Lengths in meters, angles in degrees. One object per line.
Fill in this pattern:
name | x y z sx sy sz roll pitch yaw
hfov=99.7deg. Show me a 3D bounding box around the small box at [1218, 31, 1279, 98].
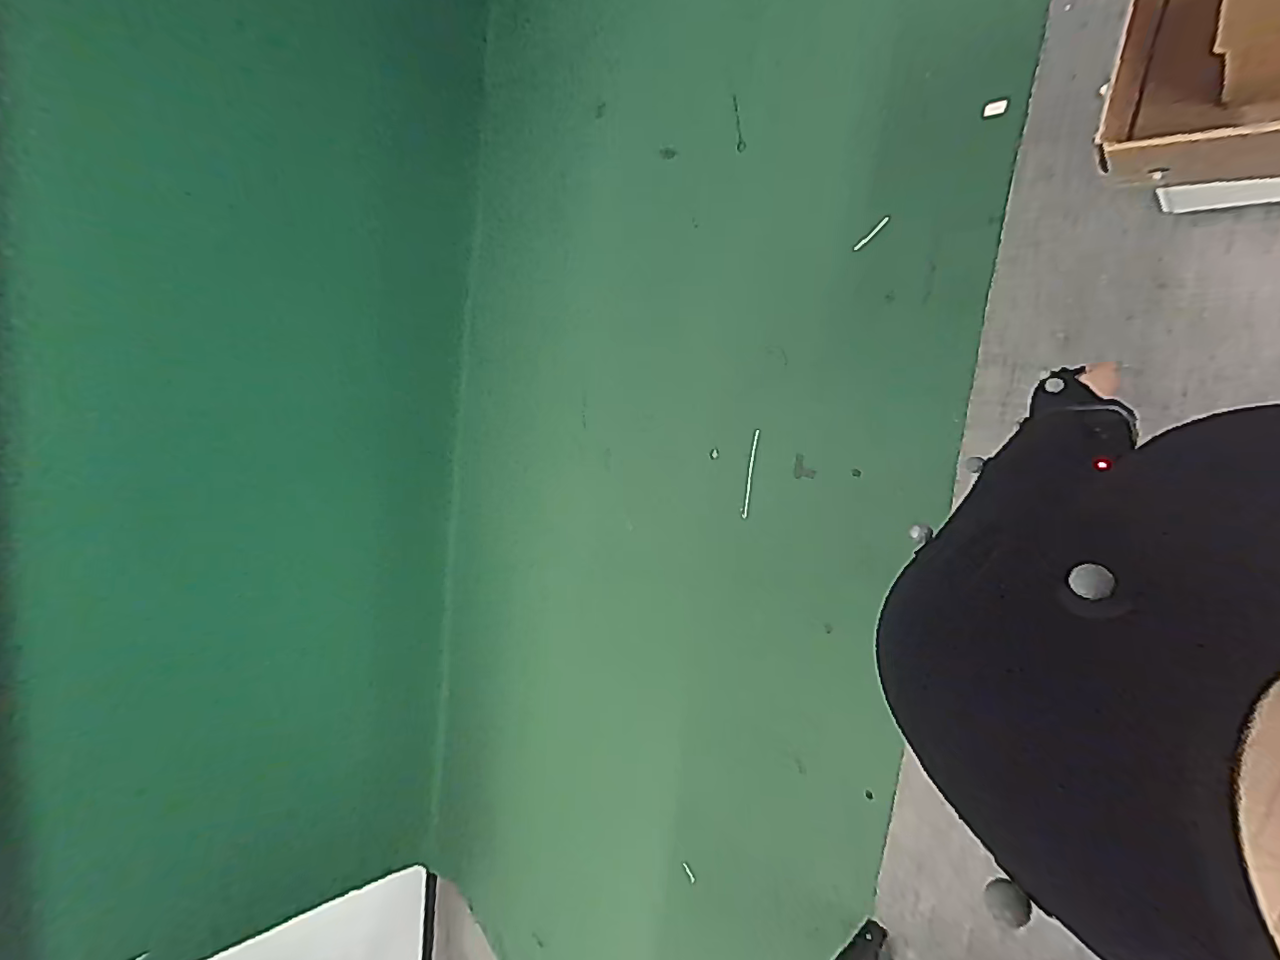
small box | 0.693 -0.492 0.505 0.179 0.176 0.168 21 110 40
